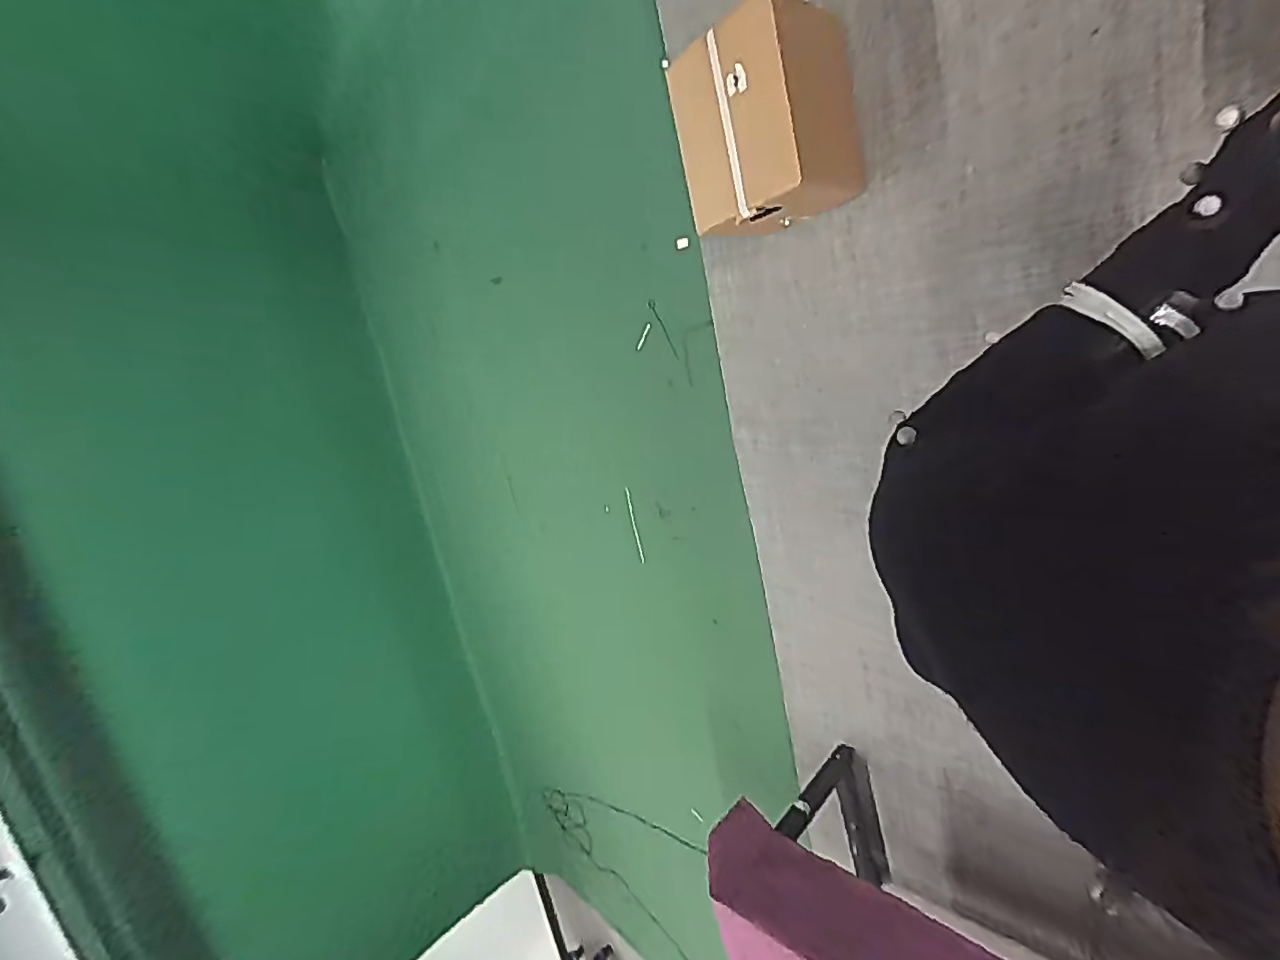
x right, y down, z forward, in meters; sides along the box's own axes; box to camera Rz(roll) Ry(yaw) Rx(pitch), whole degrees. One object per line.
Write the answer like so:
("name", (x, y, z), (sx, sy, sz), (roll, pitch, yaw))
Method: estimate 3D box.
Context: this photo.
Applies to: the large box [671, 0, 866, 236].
("large box", (0.327, -0.875, 1.359), (0.320, 0.320, 0.408), (-1, 104, 49))
